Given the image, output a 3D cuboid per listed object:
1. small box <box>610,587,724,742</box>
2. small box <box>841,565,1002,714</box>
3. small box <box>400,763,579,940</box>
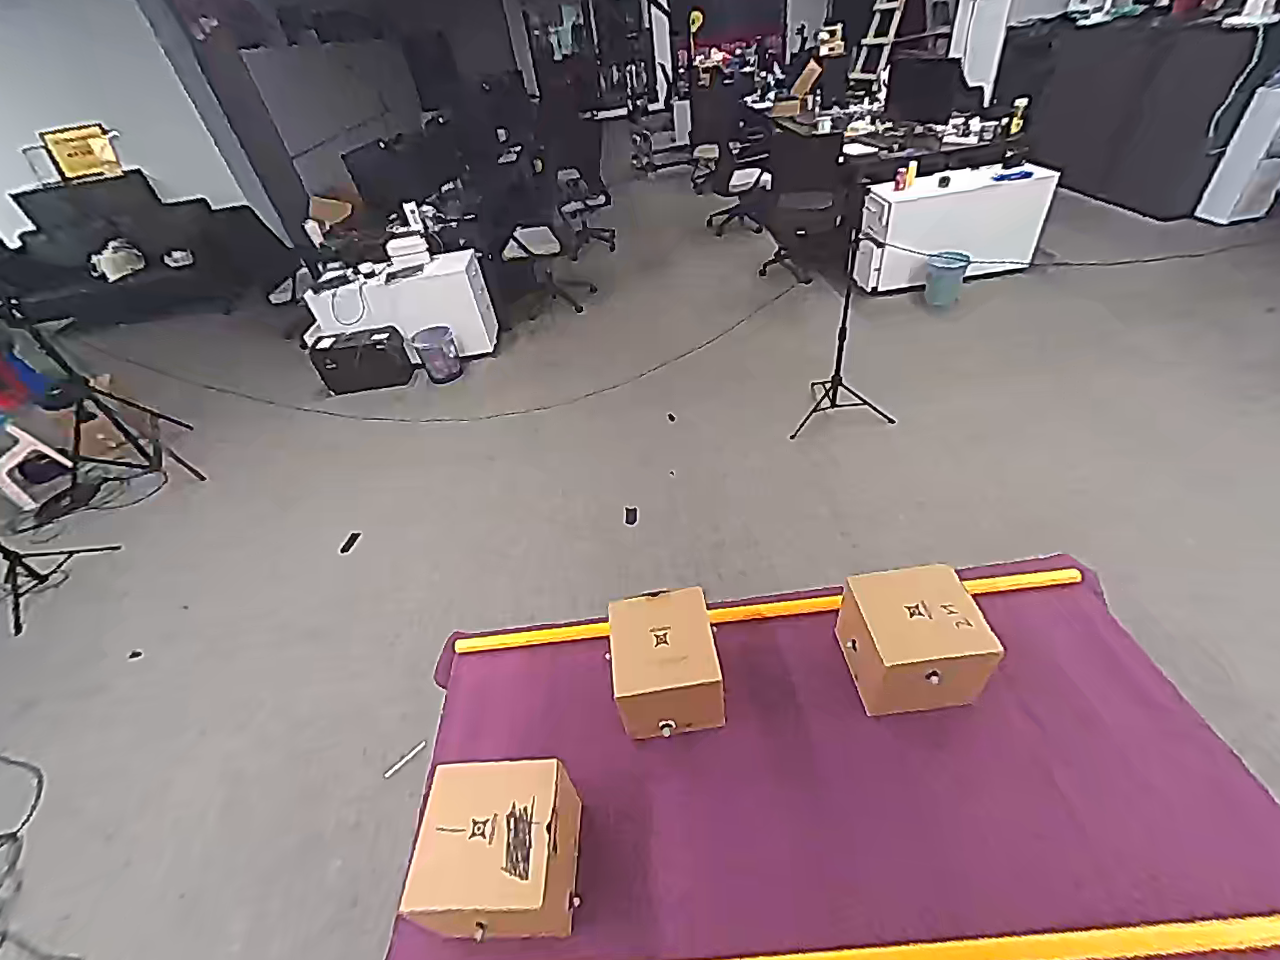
[{"bbox_3d":[0.044,0.311,0.915,0.168,0.176,0.179,-10,41,1],"label":"small box"},{"bbox_3d":[0.442,0.265,0.889,0.179,0.176,0.168,-8,42,2],"label":"small box"},{"bbox_3d":[-0.185,0.503,0.734,0.179,0.176,0.168,-5,41,5],"label":"small box"}]
